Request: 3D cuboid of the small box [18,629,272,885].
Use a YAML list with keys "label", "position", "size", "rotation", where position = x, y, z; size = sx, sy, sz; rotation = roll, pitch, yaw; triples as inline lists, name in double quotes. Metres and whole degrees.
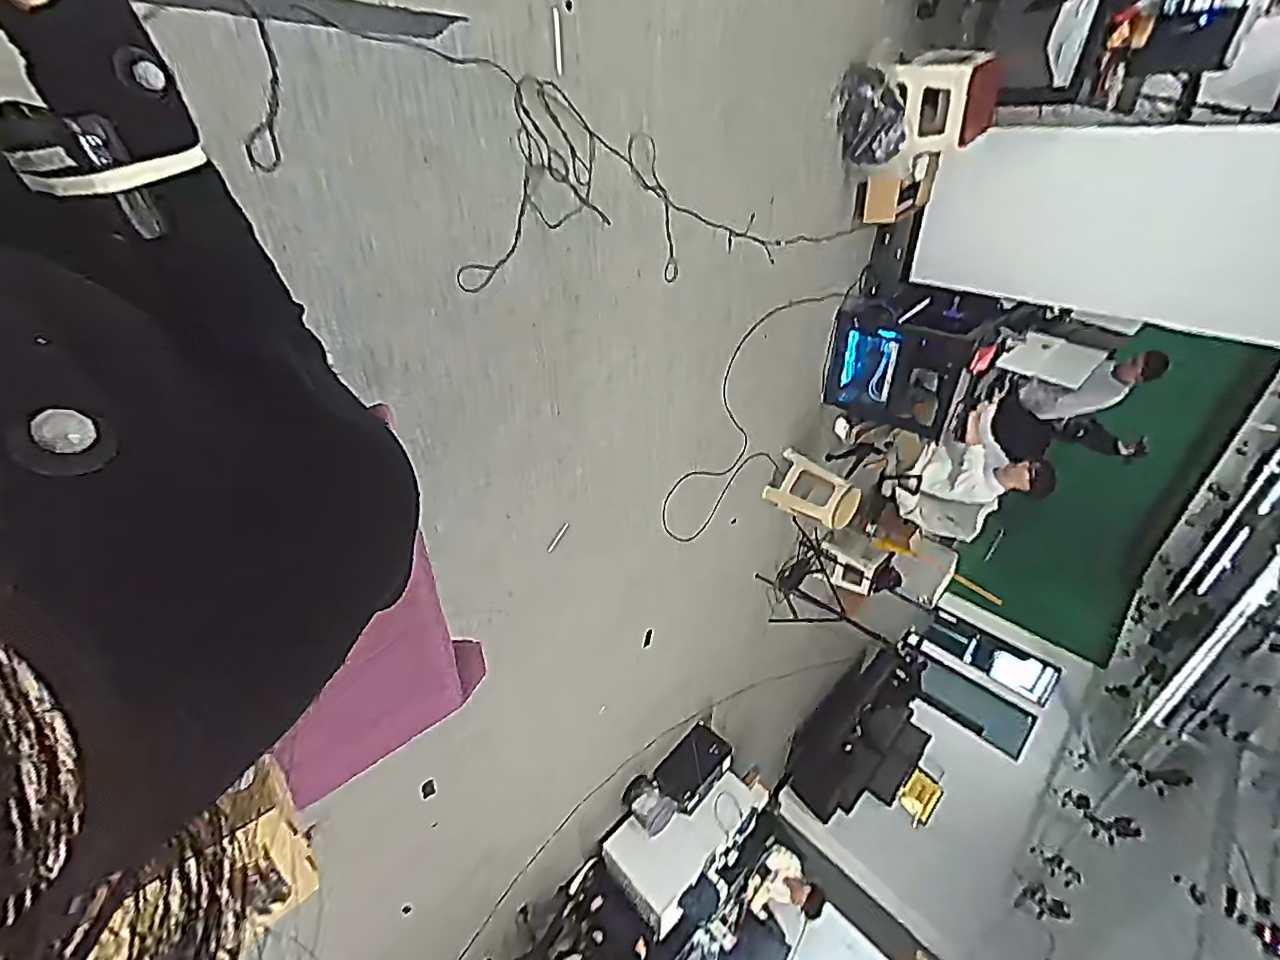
- label: "small box"
  position: [-0.588, 0.319, 0.656]
  size: [0.179, 0.176, 0.168]
  rotation: [-24, 130, -38]
